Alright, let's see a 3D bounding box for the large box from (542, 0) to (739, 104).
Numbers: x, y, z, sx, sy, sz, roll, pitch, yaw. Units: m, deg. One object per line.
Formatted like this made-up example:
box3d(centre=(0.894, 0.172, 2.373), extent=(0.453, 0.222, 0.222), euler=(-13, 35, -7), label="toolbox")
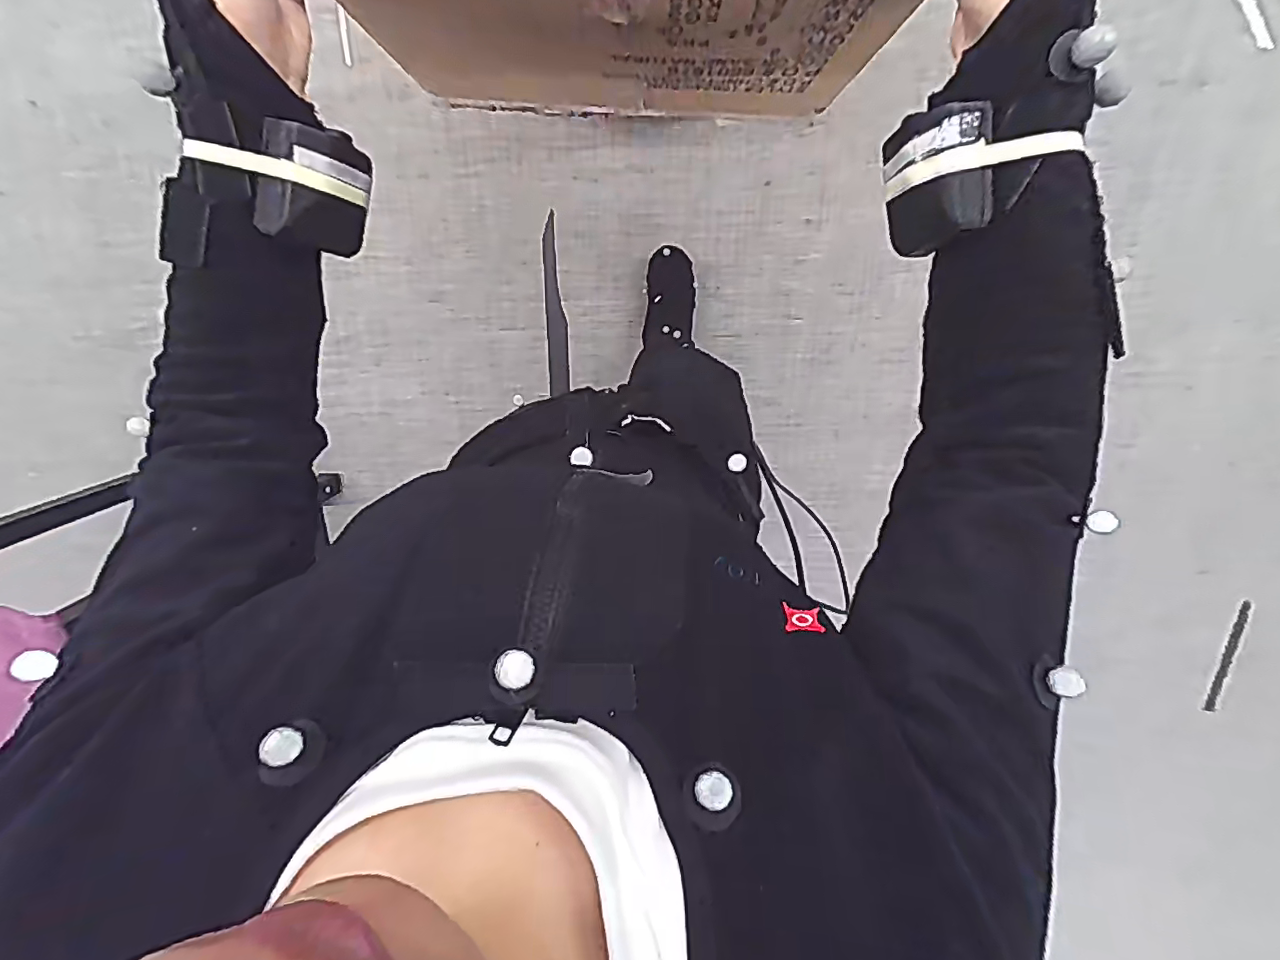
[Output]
box3d(centre=(-0.003, -0.935, 0.932), extent=(0.320, 0.320, 0.408), euler=(-1, 110, 3), label="large box")
